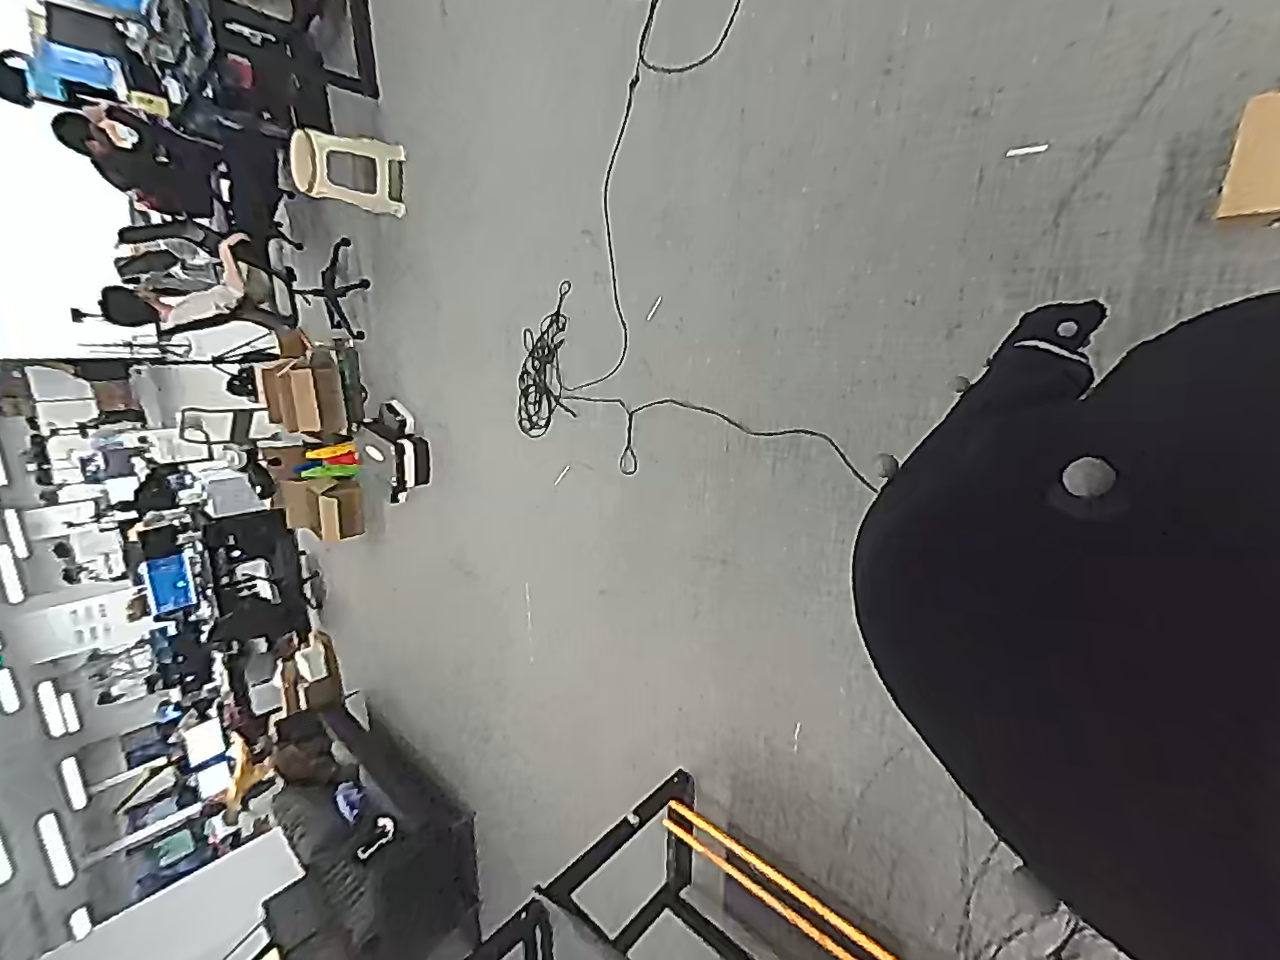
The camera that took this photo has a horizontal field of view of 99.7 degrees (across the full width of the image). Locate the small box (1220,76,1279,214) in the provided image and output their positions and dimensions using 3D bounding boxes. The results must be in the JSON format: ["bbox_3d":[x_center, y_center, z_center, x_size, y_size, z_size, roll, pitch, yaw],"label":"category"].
[{"bbox_3d":[1.056,-0.529,0.852,0.168,0.176,0.179,13,110,41],"label":"small box"}]
